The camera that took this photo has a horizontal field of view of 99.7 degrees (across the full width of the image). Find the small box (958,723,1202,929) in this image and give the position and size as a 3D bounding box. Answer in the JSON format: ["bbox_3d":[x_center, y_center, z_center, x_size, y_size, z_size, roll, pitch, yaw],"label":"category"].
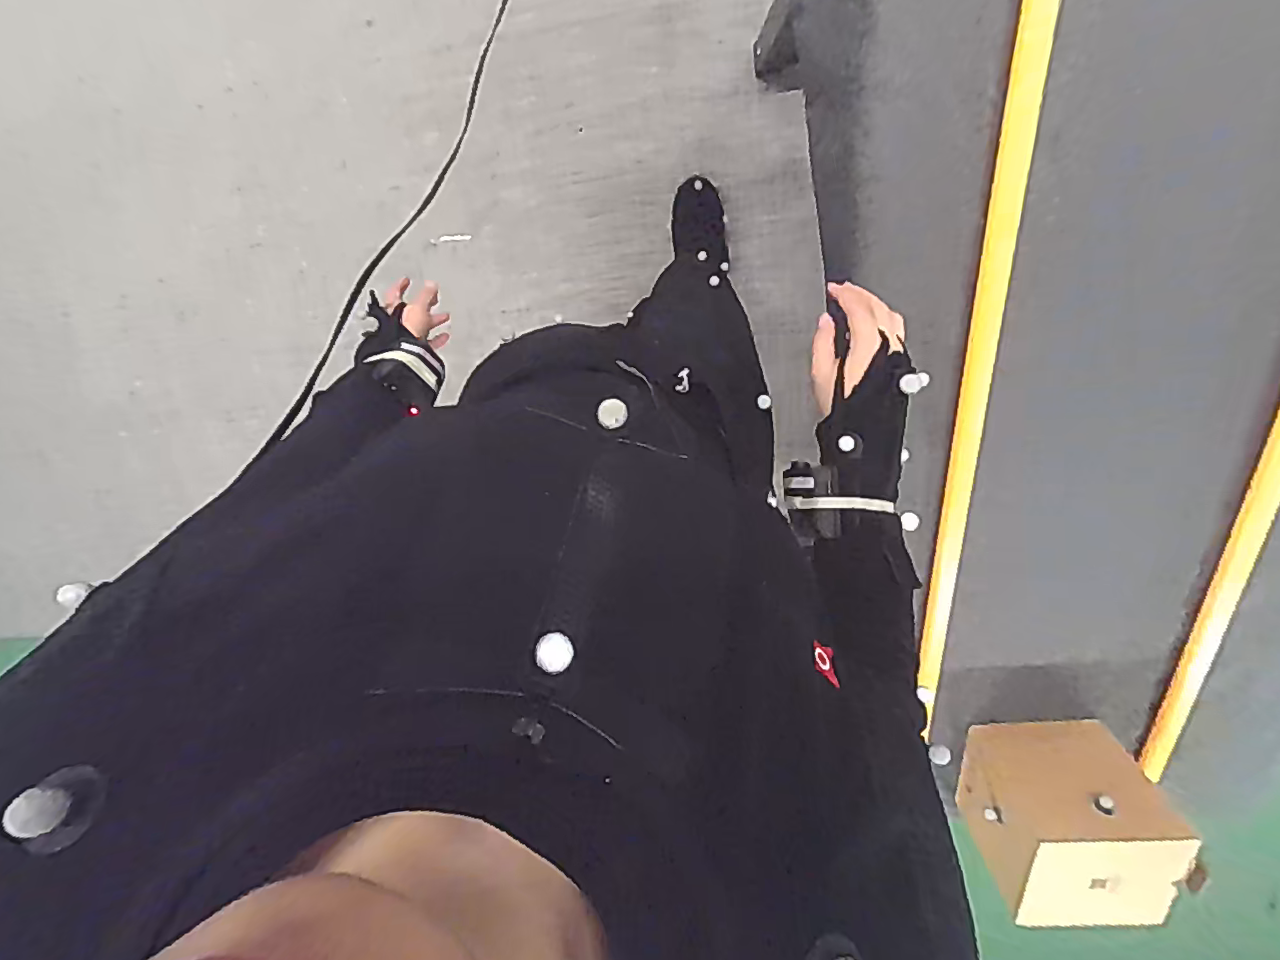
[{"bbox_3d":[0.552,0.446,0.712,0.179,0.176,0.168,-5,113,5],"label":"small box"}]
